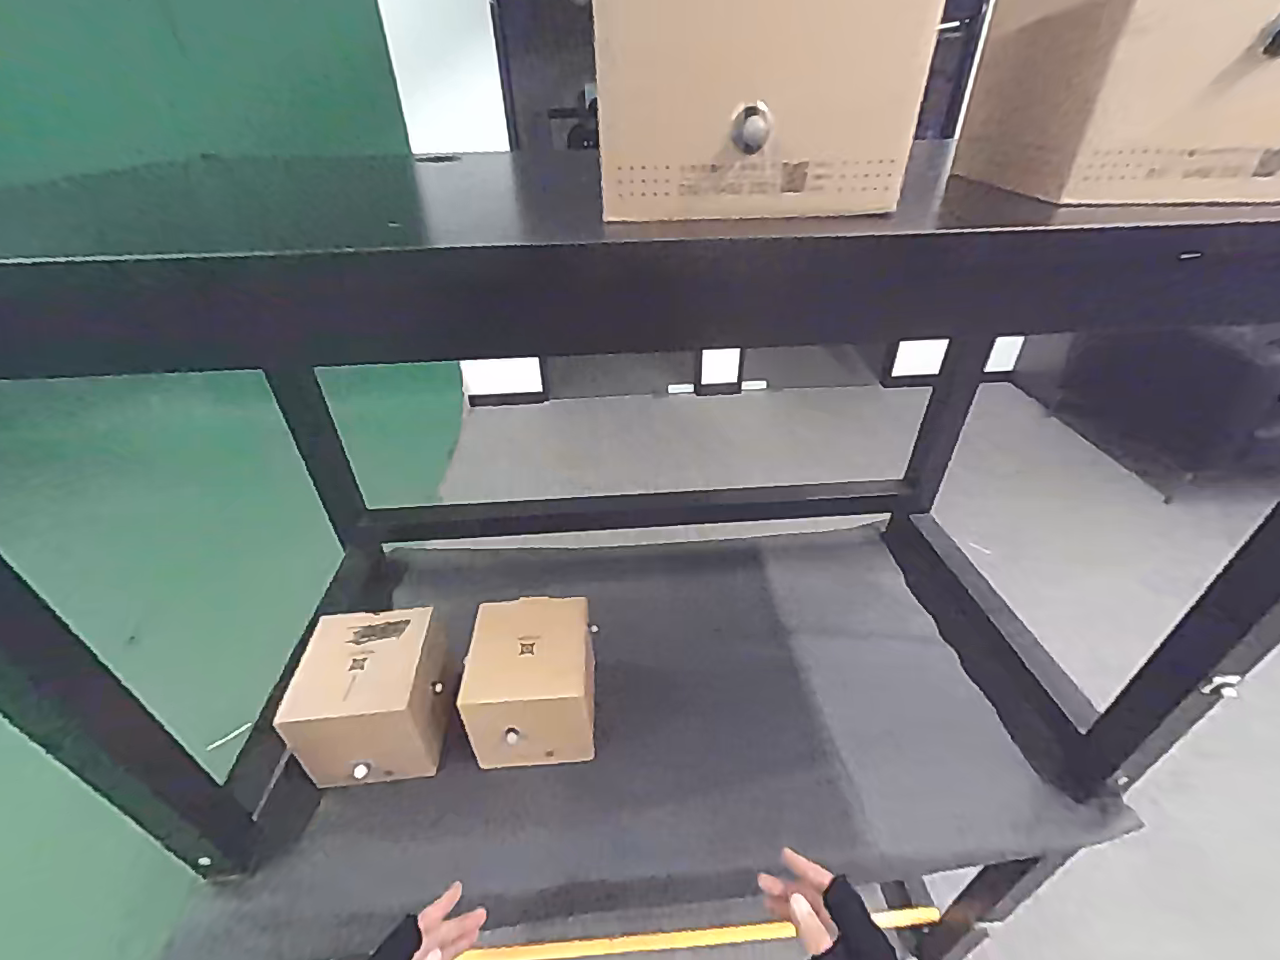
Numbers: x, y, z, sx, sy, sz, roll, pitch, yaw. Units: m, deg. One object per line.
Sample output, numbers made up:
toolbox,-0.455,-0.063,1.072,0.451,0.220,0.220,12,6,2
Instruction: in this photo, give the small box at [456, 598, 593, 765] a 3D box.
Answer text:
small box,-0.158,0.302,0.807,0.168,0.176,0.179,-3,34,-3

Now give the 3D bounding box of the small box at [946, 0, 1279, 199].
small box,0.328,-0.280,0.343,0.168,0.176,0.179,2,34,5

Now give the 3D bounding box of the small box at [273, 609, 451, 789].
small box,-0.385,0.316,0.790,0.168,0.176,0.179,-4,35,-5
